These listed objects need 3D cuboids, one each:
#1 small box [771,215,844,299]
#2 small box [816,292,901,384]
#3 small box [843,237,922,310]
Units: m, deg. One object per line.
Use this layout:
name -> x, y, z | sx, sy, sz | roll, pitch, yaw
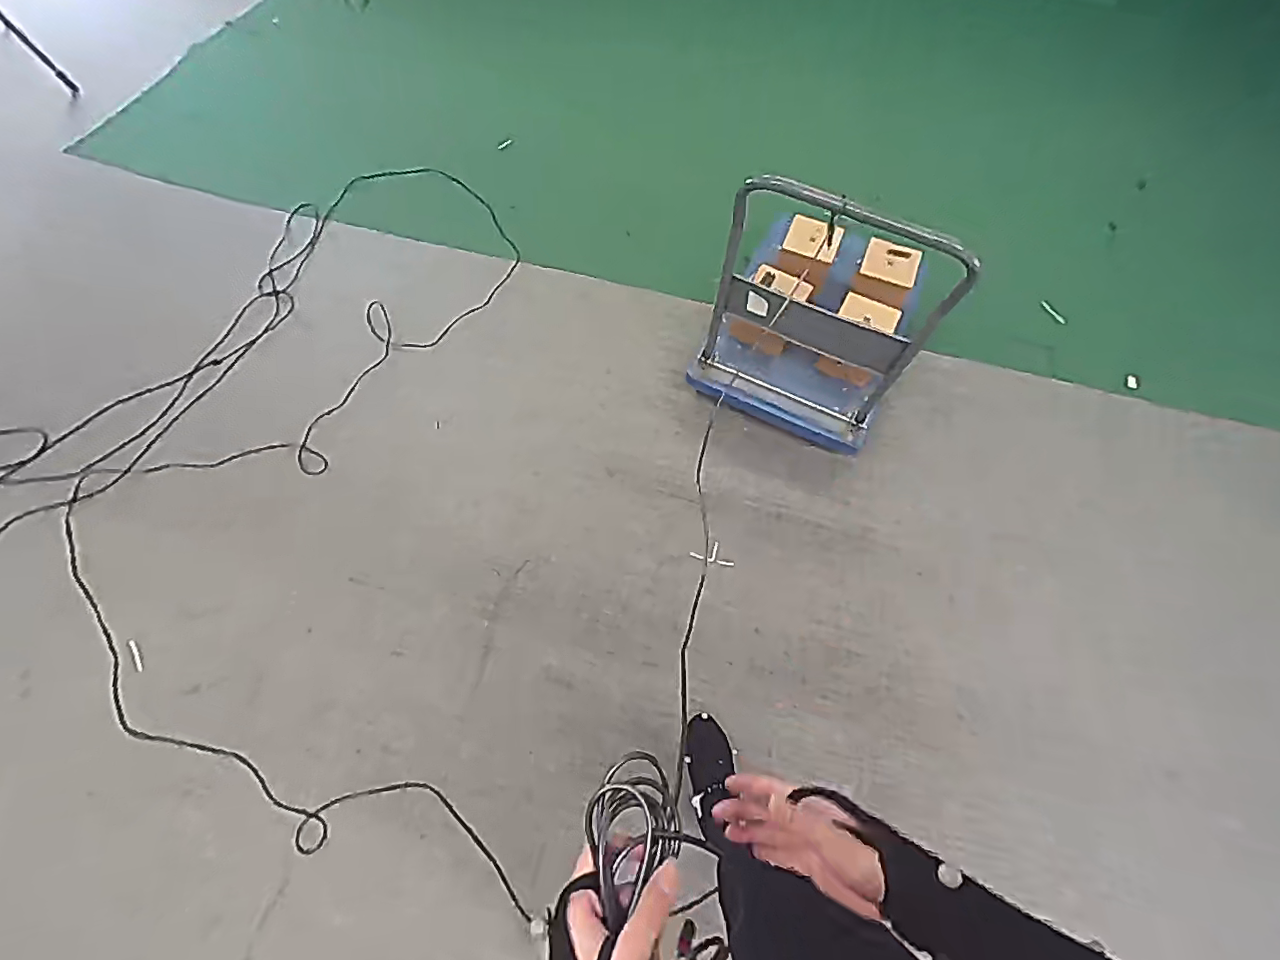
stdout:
small box -> 0.549, -0.735, 1.795 | 0.168, 0.176, 0.179 | 22, 65, 9
small box -> 0.658, -0.428, 1.647 | 0.168, 0.176, 0.179 | 26, 66, 11
small box -> 0.781, -0.644, 1.755 | 0.168, 0.176, 0.179 | 21, 66, 10
